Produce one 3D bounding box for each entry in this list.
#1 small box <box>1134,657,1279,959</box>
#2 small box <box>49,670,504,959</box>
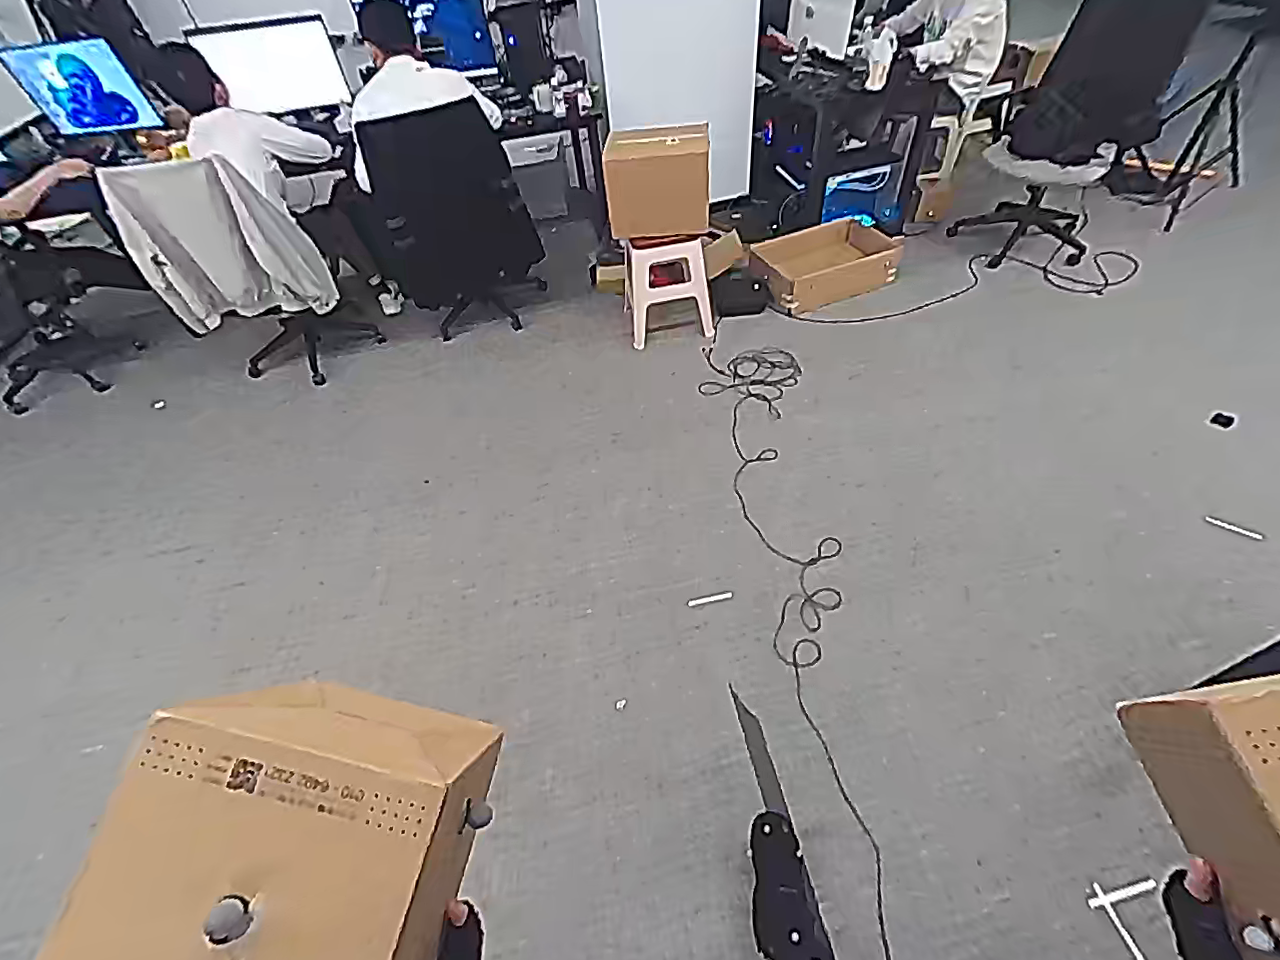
[{"bbox_3d":[0.417,0.176,0.283,0.168,0.179,0.176,-19,62,20],"label":"small box"},{"bbox_3d":[-0.201,0.225,0.342,0.168,0.179,0.176,15,74,1],"label":"small box"}]
